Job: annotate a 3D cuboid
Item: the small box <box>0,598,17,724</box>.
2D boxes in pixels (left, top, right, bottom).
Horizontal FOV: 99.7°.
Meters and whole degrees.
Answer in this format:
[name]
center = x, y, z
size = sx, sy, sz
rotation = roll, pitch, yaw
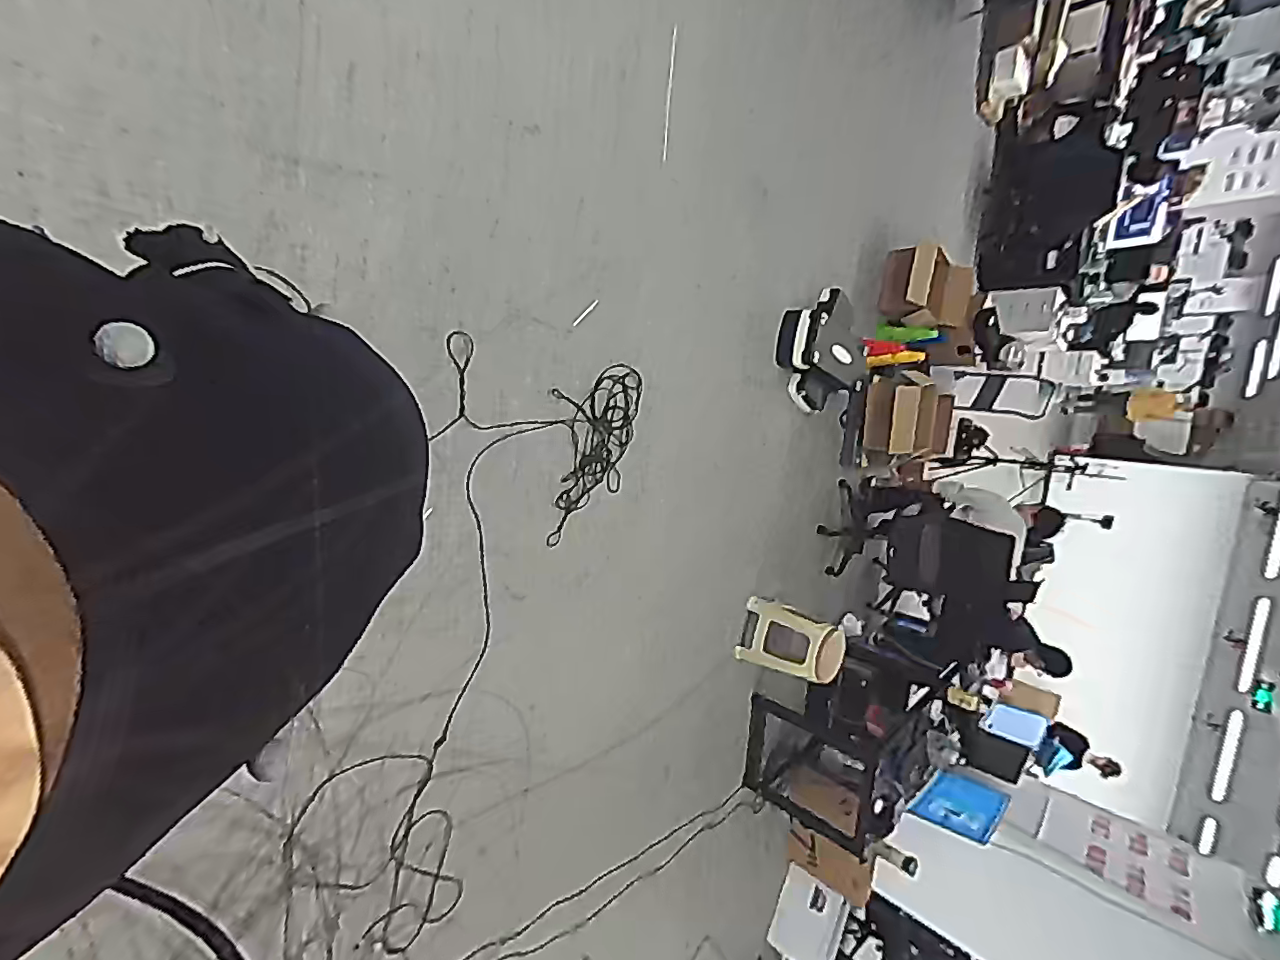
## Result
[small box]
center = -1.182, 0.317, 0.911
size = 0.168, 0.176, 0.179
rotation = 0, 98, -47
